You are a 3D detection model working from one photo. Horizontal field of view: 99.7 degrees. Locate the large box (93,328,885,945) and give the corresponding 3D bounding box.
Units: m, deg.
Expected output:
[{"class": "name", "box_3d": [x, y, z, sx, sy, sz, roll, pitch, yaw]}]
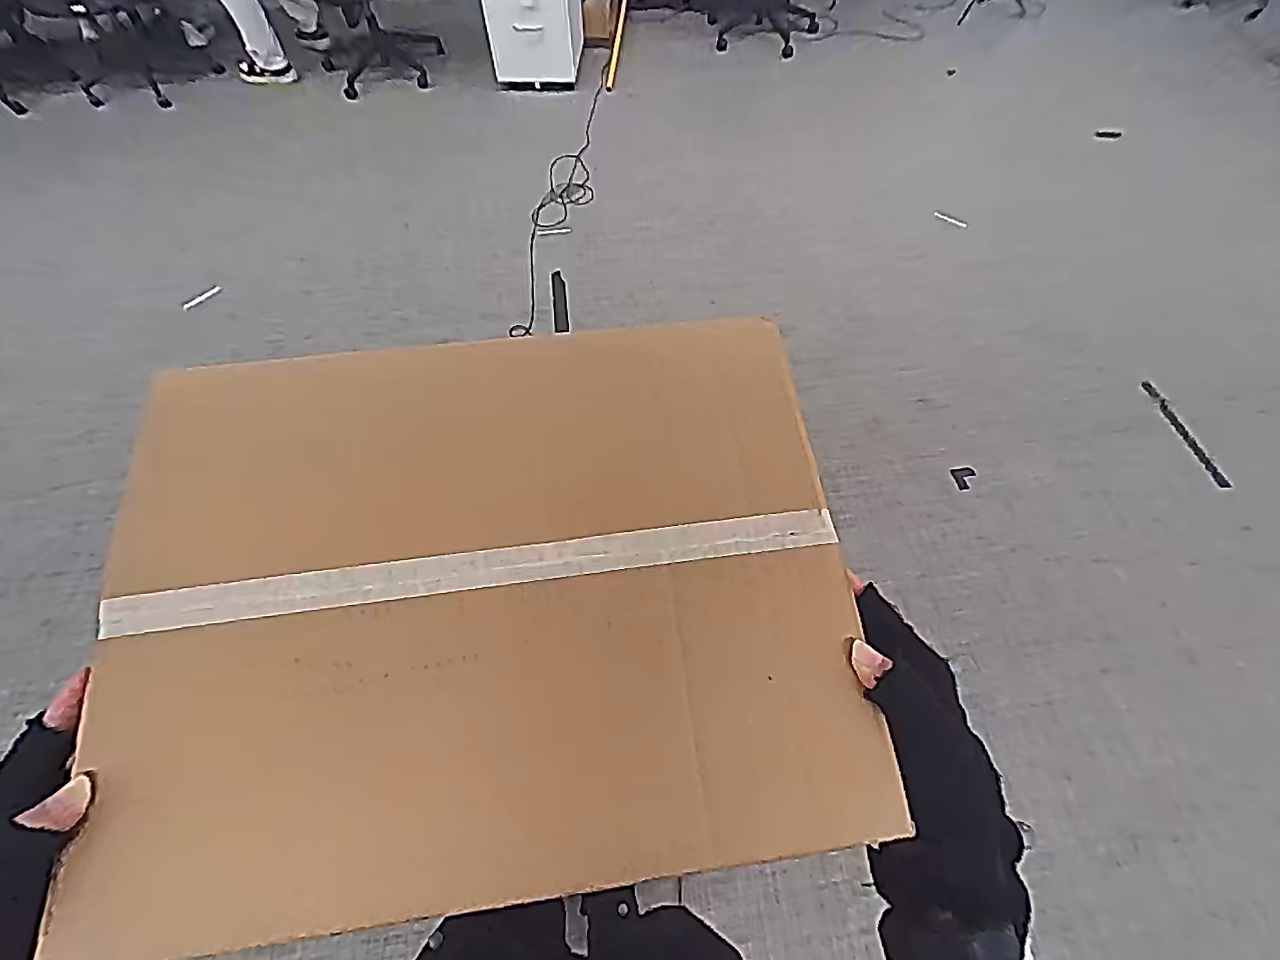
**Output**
[{"class": "large box", "box_3d": [-0.090, 0.108, 0.461, 0.408, 0.320, 0.320, -7, 70, -5]}]
